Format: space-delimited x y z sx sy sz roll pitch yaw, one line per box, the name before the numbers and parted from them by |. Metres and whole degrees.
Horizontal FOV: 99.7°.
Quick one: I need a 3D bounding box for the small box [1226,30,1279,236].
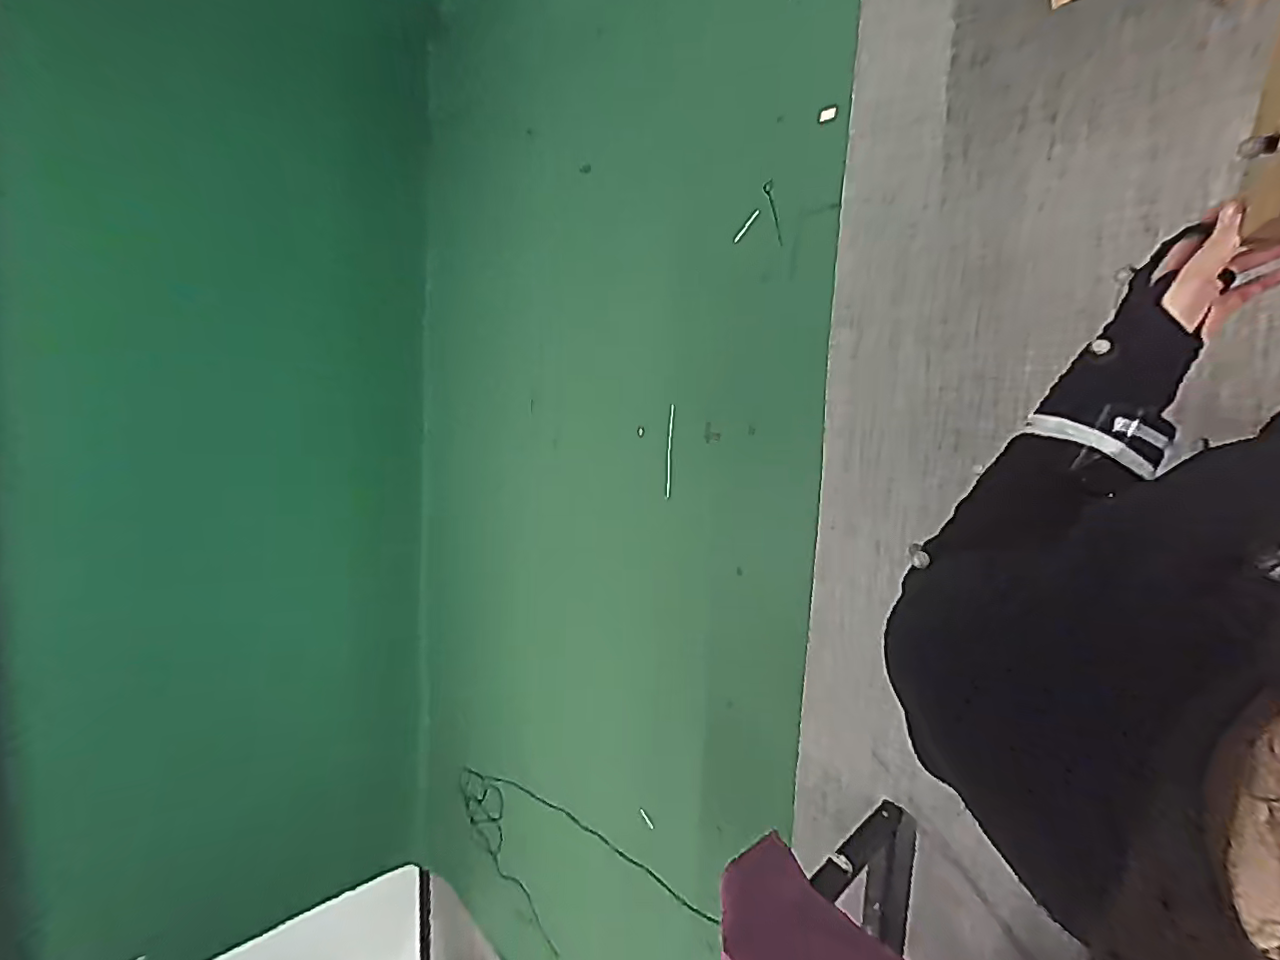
small box | 0.470 -0.238 0.289 0.179 0.176 0.168 13 107 36
